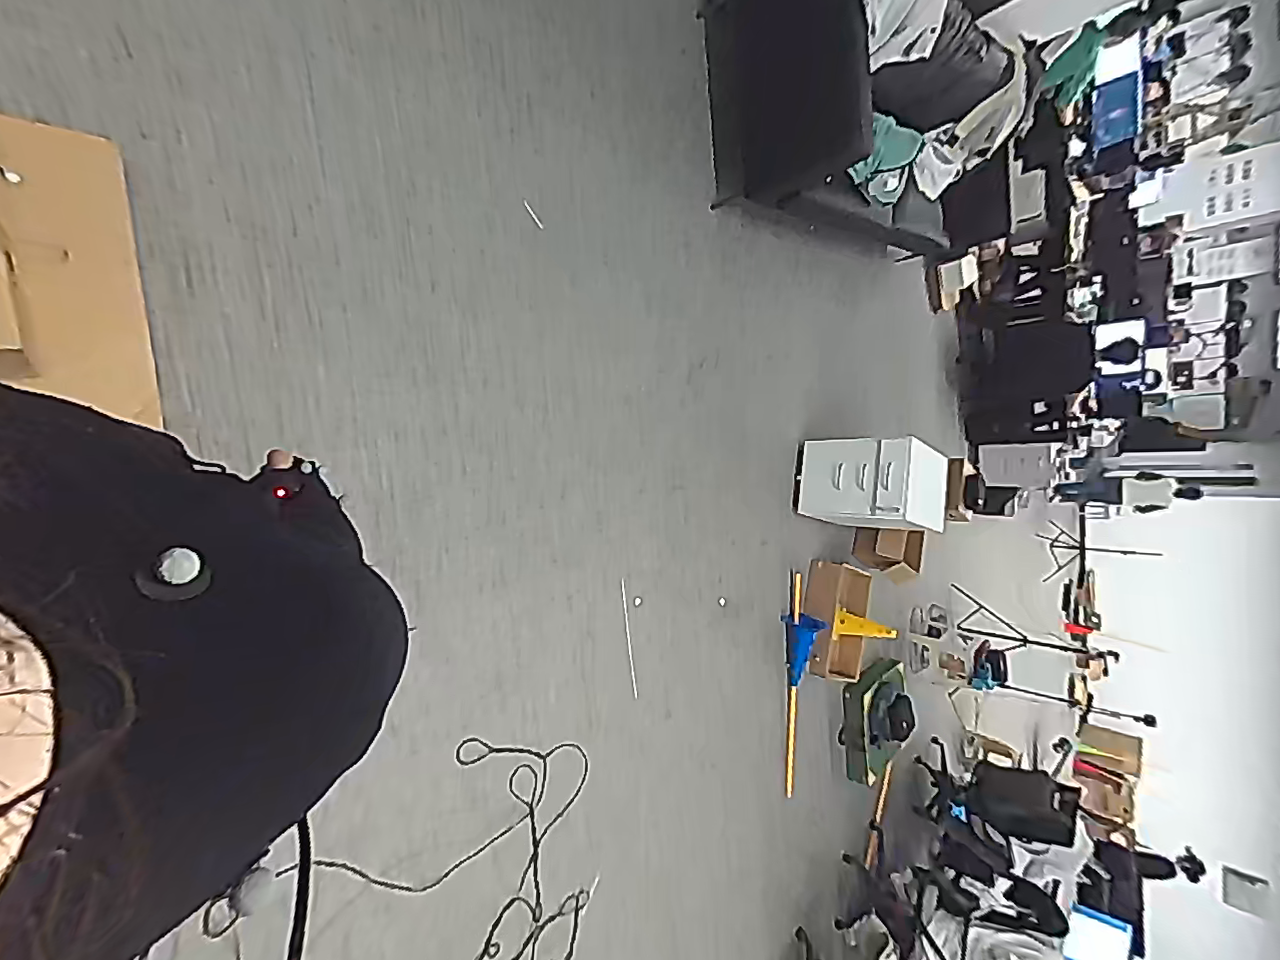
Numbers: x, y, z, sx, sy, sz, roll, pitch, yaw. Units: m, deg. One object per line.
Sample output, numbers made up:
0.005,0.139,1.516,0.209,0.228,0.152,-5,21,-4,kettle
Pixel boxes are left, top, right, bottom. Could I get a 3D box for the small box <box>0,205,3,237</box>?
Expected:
-0.938,-0.406,0.670,0.179,0.176,0.168,-6,95,-42,small box
